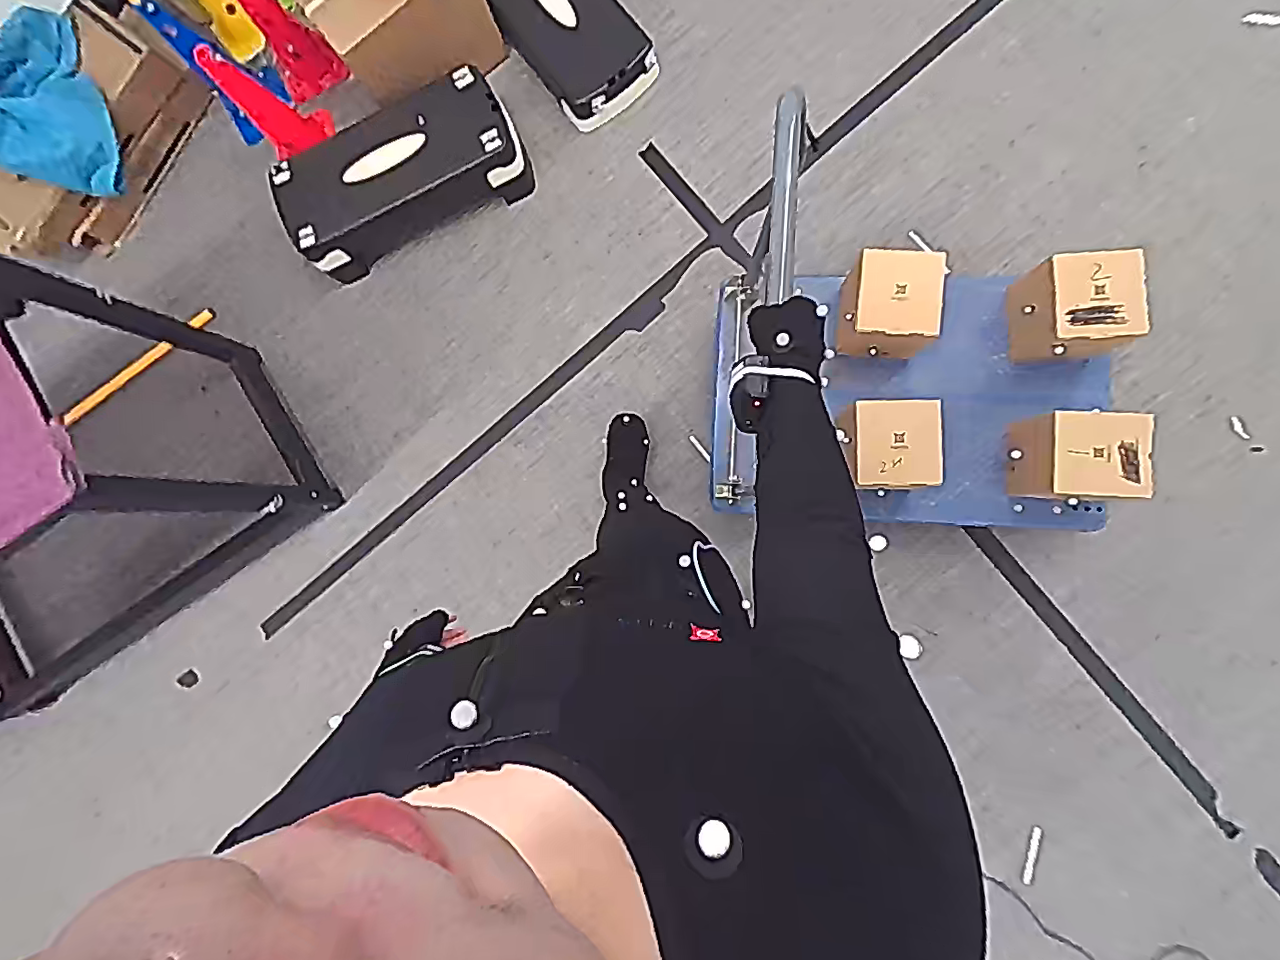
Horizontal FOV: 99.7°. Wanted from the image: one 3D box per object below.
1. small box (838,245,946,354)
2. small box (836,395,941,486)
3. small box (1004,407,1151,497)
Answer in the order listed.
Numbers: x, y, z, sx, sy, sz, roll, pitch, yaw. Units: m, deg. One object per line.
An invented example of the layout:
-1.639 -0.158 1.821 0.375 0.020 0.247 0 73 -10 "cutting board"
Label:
0.543 -0.389 1.185 0.168 0.176 0.179 5 89 6 "small box"
0.528 -0.080 1.169 0.168 0.176 0.179 1 87 6 "small box"
0.901 -0.052 1.126 0.179 0.176 0.168 4 87 8 "small box"
